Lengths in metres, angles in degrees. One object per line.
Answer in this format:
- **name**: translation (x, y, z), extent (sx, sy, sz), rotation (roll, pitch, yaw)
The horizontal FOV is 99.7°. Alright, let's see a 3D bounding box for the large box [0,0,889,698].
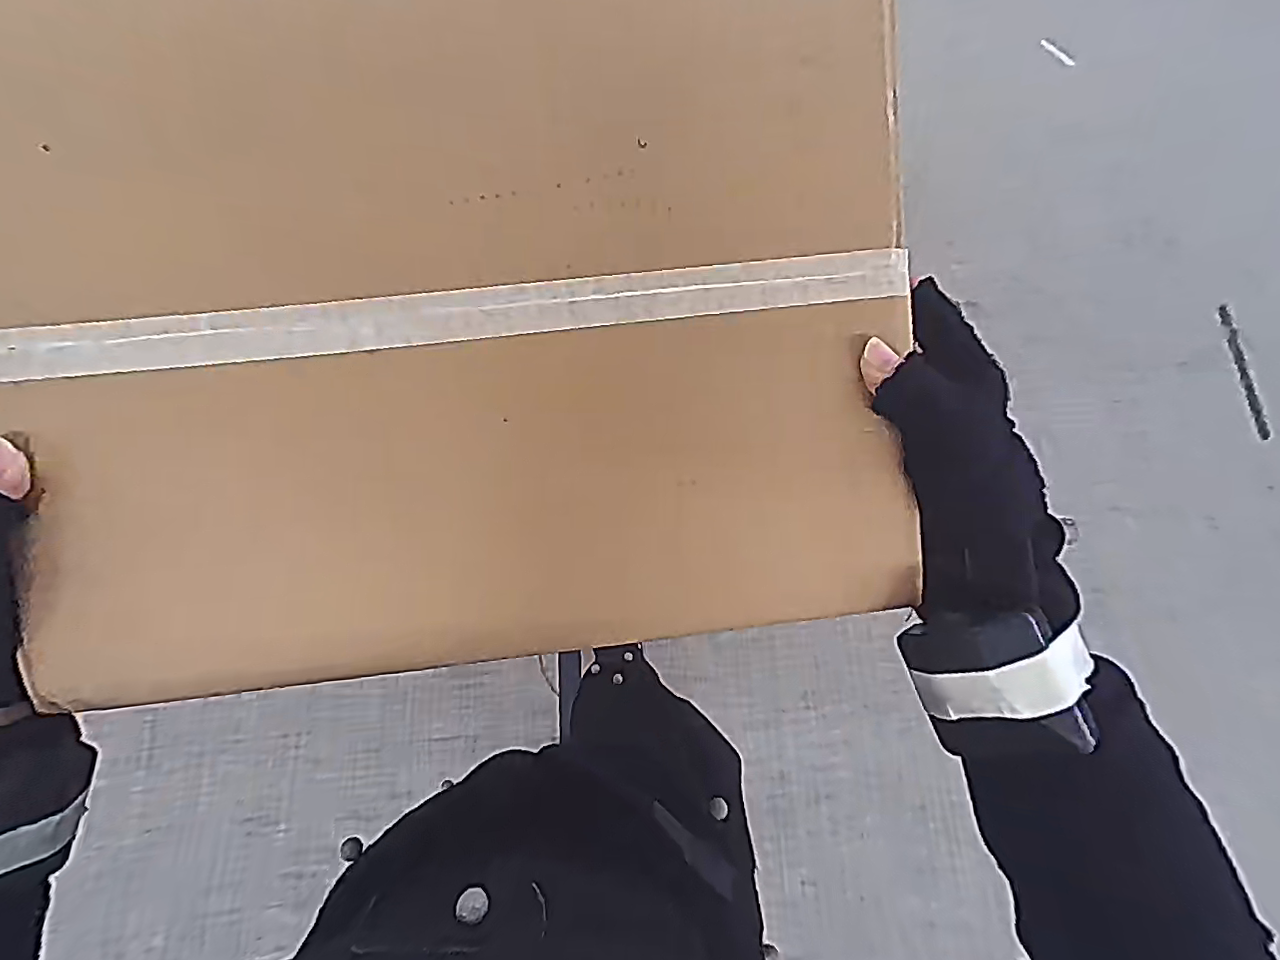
- **large box**: translation (-0.092, -0.087, 0.393), extent (0.408, 0.320, 0.320), rotation (-6, 96, -3)
